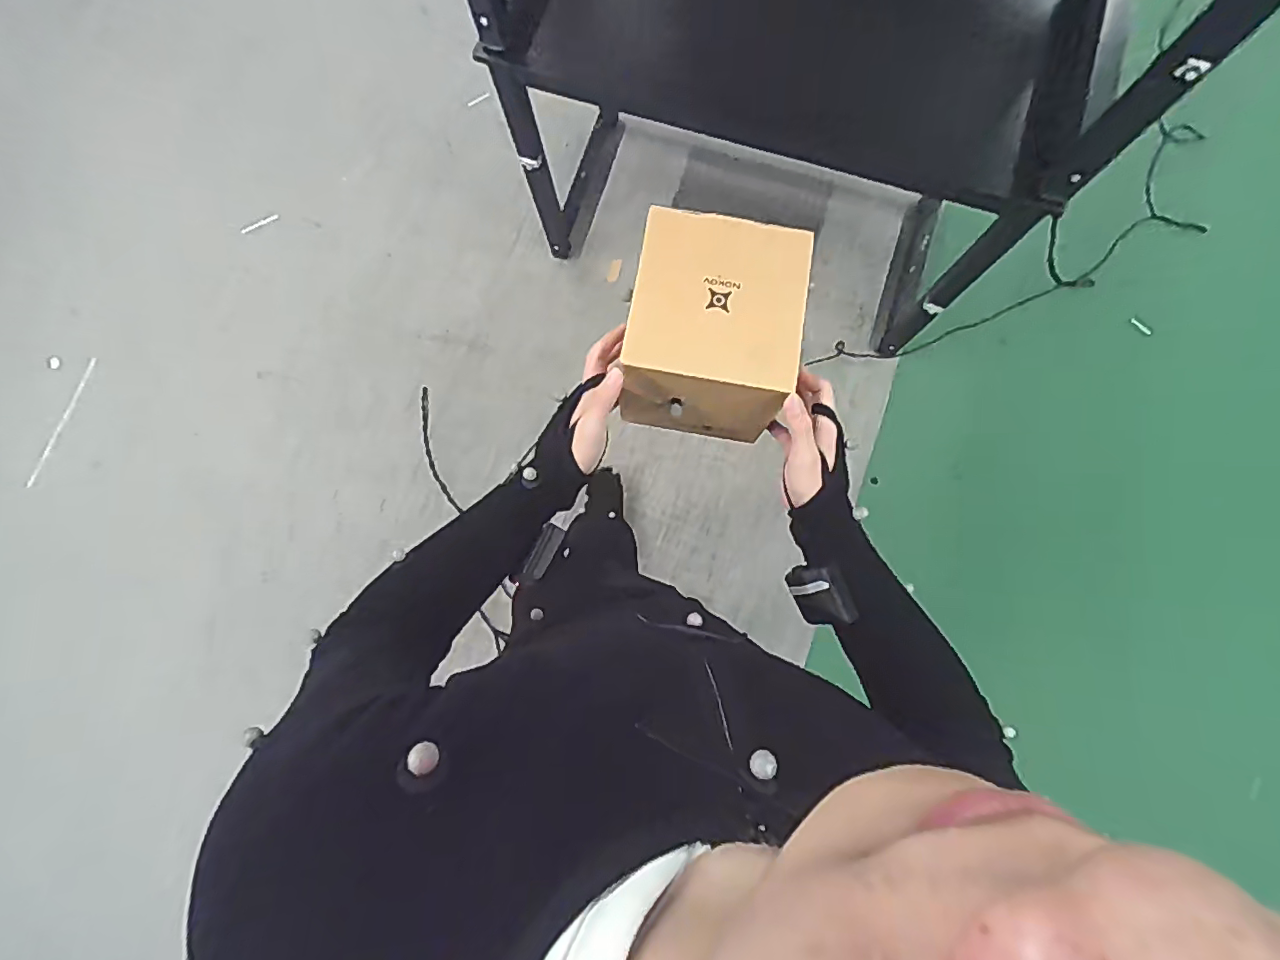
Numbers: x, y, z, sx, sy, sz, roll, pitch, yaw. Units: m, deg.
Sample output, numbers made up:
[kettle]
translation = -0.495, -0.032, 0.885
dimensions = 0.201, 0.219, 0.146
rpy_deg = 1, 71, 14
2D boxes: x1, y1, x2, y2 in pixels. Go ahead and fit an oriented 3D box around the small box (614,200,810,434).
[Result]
[small box]
translation = 0.071, -0.162, 0.588
dimensions = 0.168, 0.176, 0.179
rpy_deg = 10, 77, 2
